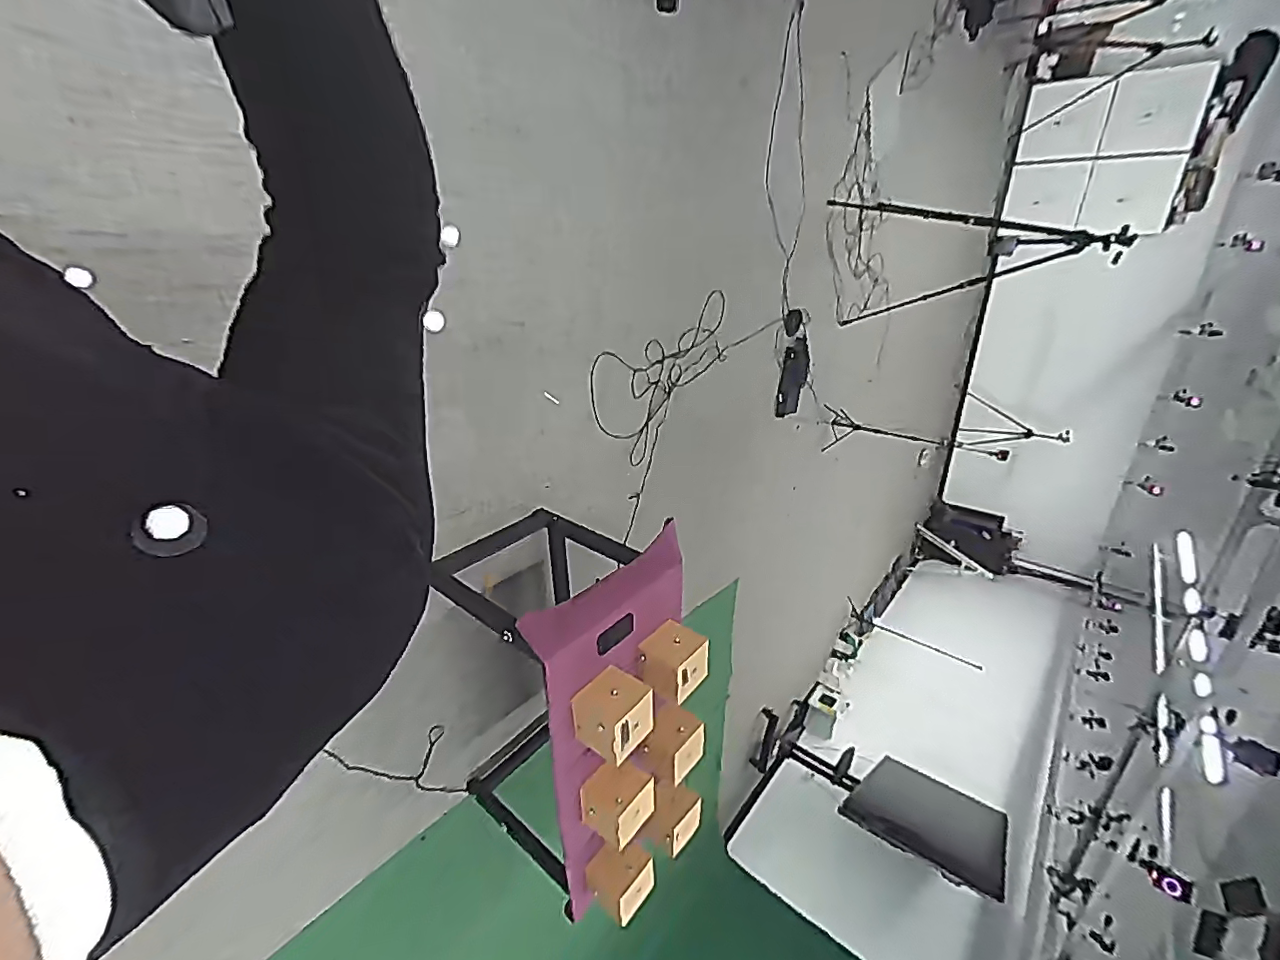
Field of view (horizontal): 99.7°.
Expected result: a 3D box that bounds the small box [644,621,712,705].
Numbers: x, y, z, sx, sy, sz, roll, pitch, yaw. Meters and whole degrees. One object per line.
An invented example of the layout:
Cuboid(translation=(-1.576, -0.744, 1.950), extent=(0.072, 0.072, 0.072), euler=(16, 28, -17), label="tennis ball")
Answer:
Cuboid(translation=(0.124, 0.607, 1.816), extent=(0.179, 0.176, 0.168), euler=(-27, 125, -43), label="small box")

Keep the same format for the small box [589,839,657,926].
Cuboid(translation=(-0.059, 1.404, 1.922), extent=(0.179, 0.176, 0.168), euler=(-27, 123, -42), label="small box")

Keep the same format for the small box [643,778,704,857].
Cuboid(translation=(0.132, 1.315, 2.130), extent=(0.179, 0.176, 0.168), euler=(-24, 122, -44), label="small box")

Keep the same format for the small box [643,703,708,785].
Cuboid(translation=(0.128, 0.956, 1.976), extent=(0.179, 0.176, 0.168), euler=(-25, 123, -43), label="small box")

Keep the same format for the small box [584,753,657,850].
Cuboid(translation=(-0.063, 1.042, 1.771), extent=(0.179, 0.176, 0.168), euler=(-27, 125, -44), label="small box")
